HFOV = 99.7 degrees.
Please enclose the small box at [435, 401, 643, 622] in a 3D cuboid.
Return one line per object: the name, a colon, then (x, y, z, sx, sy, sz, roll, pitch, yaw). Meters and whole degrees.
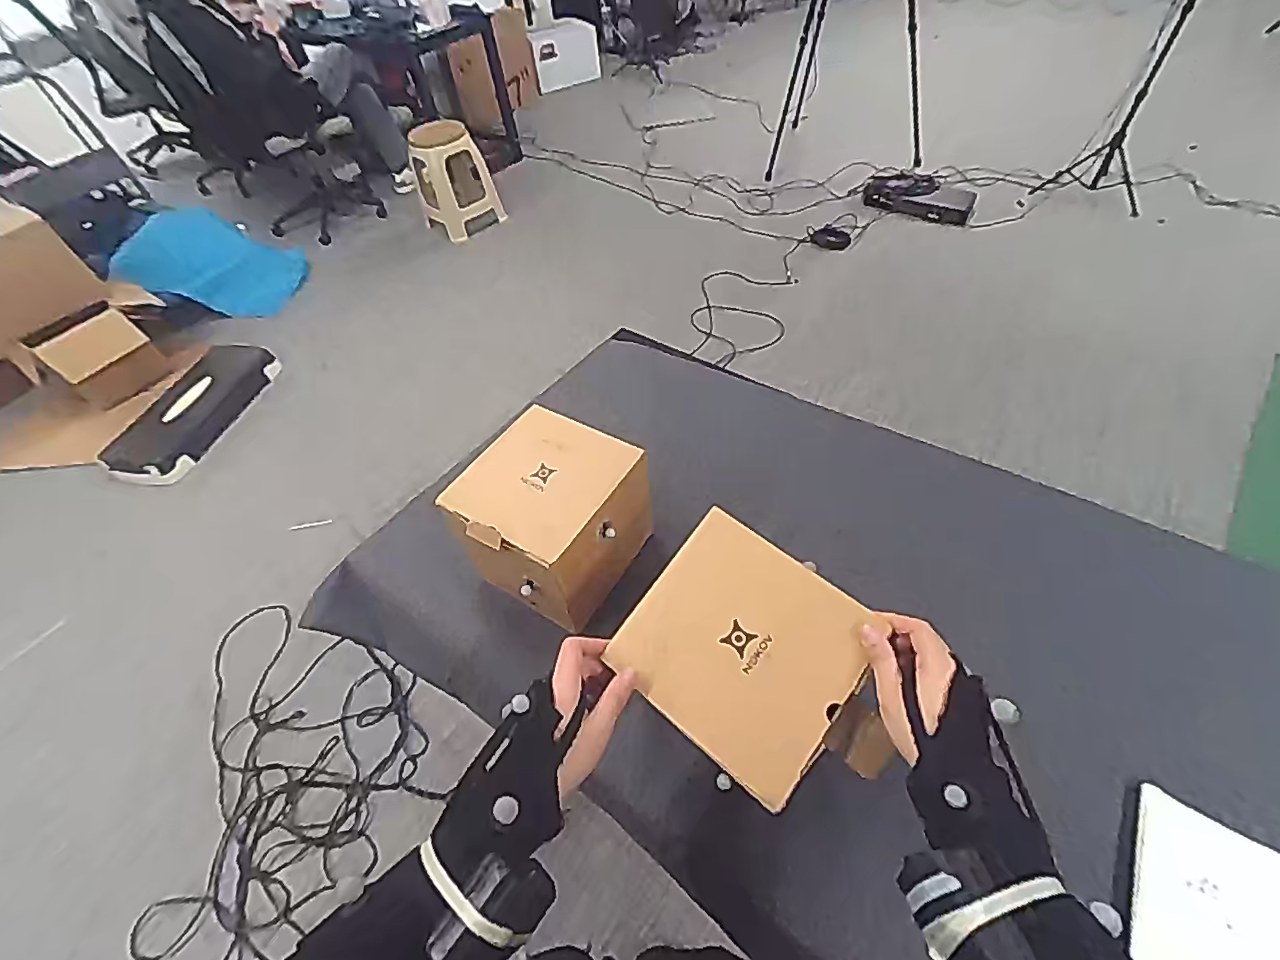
small box: (-0.105, 0.041, 0.658, 0.168, 0.176, 0.179, 24, 56, 22)
